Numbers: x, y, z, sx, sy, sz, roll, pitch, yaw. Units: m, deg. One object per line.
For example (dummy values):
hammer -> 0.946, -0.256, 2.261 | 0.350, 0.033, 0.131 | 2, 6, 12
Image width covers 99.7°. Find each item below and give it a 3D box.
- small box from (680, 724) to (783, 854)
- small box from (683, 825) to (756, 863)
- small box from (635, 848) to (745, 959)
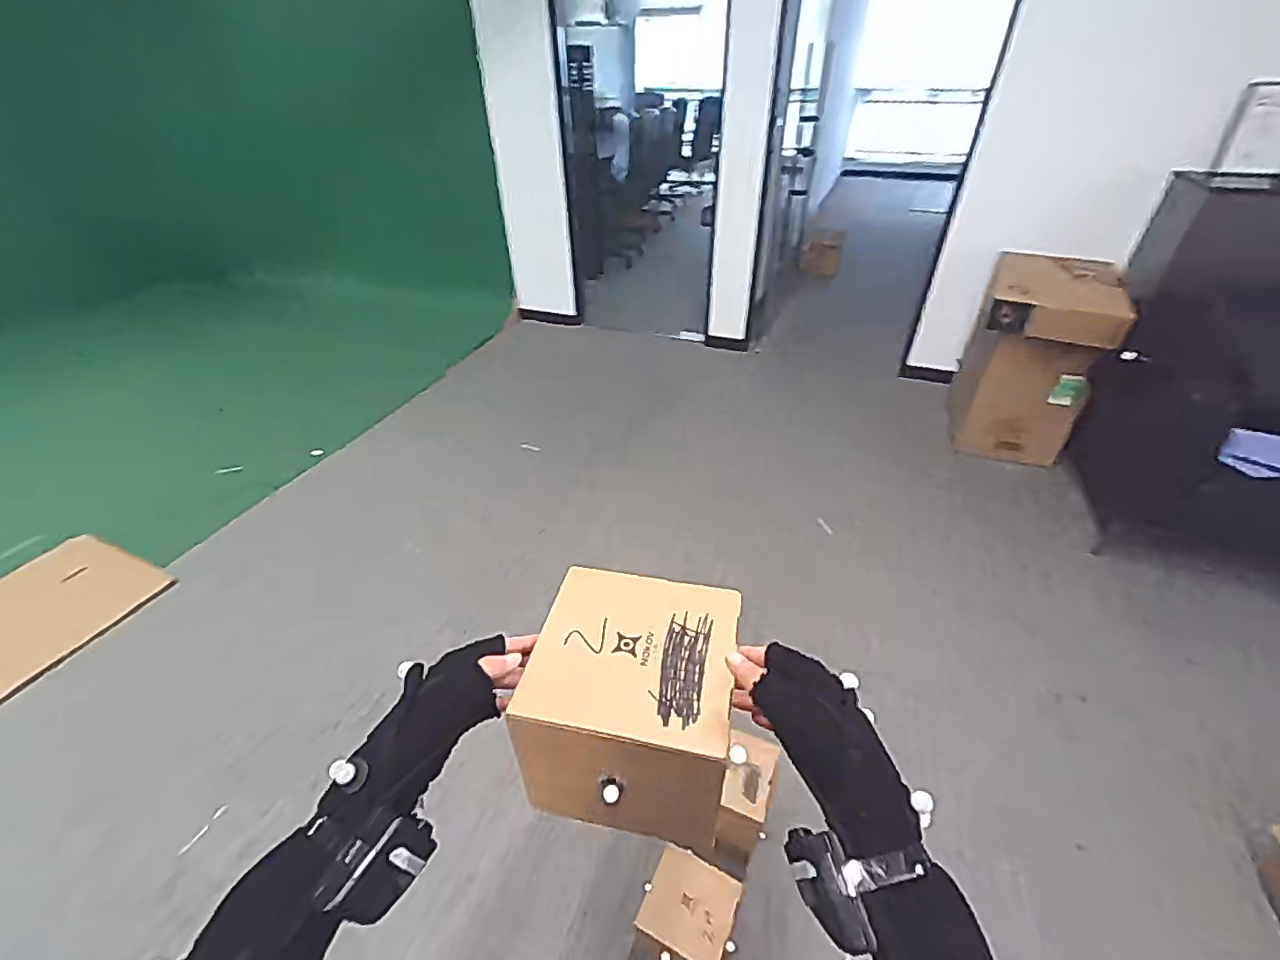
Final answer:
small box -> 0.198, 0.681, 1.188 | 0.179, 0.176, 0.168 | 15, 40, 20
small box -> 0.206, 0.792, 1.313 | 0.179, 0.176, 0.168 | 11, 39, 14
small box -> 0.103, 0.928, 1.134 | 0.179, 0.176, 0.168 | 18, 41, 22
